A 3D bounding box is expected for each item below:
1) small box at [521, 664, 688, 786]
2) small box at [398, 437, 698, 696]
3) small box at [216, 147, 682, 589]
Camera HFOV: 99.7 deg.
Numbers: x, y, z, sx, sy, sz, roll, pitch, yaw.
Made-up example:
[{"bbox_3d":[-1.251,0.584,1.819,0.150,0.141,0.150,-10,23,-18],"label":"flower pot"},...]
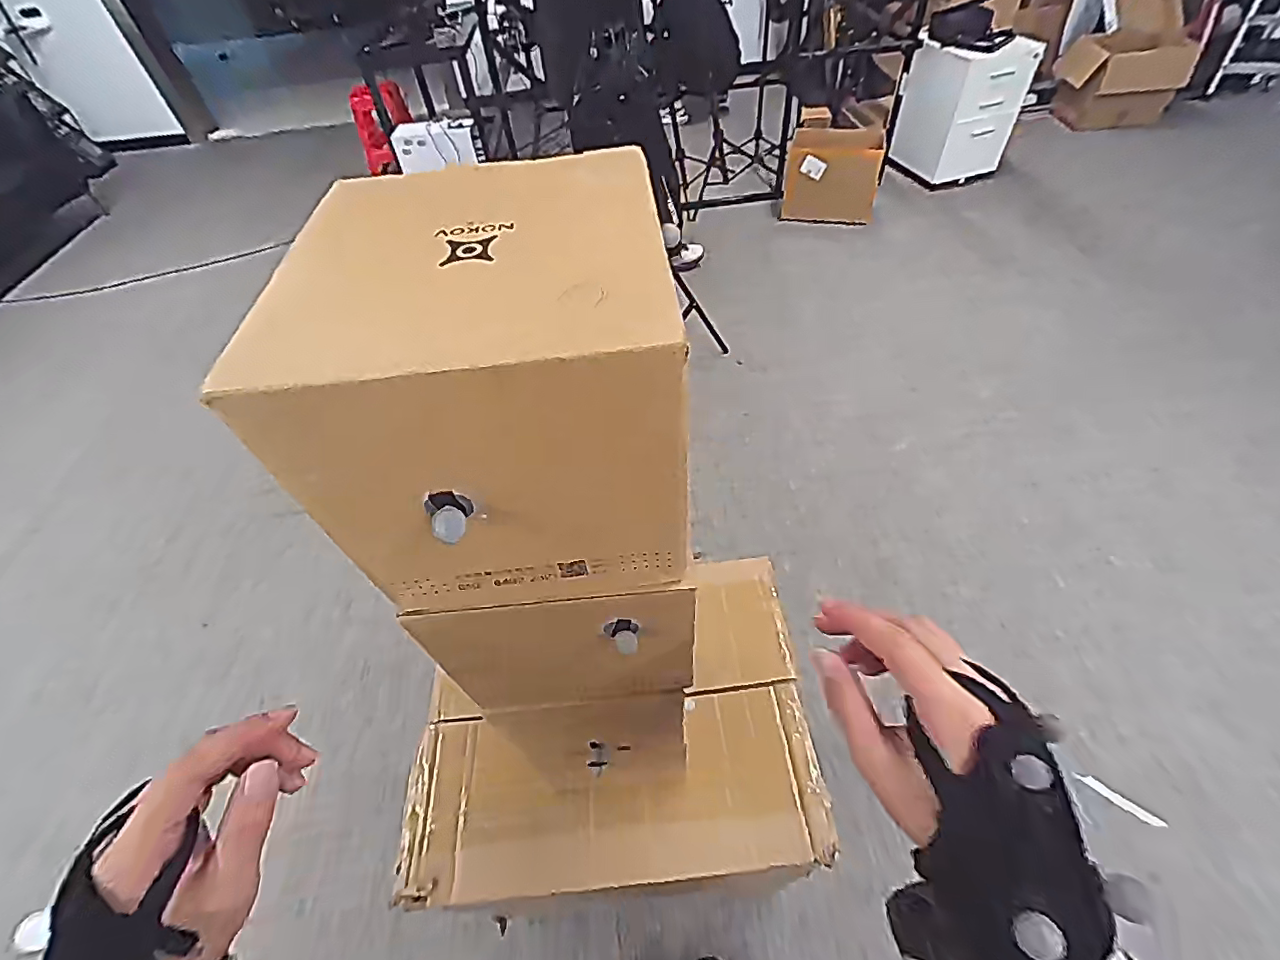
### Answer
[{"bbox_3d":[-0.036,0.268,0.672,0.179,0.176,0.168,-5,50,0],"label":"small box"},{"bbox_3d":[-0.054,0.055,0.422,0.179,0.176,0.168,-6,50,0],"label":"small box"},{"bbox_3d":[-0.069,-0.053,0.301,0.168,0.176,0.179,-7,50,-1],"label":"small box"}]
